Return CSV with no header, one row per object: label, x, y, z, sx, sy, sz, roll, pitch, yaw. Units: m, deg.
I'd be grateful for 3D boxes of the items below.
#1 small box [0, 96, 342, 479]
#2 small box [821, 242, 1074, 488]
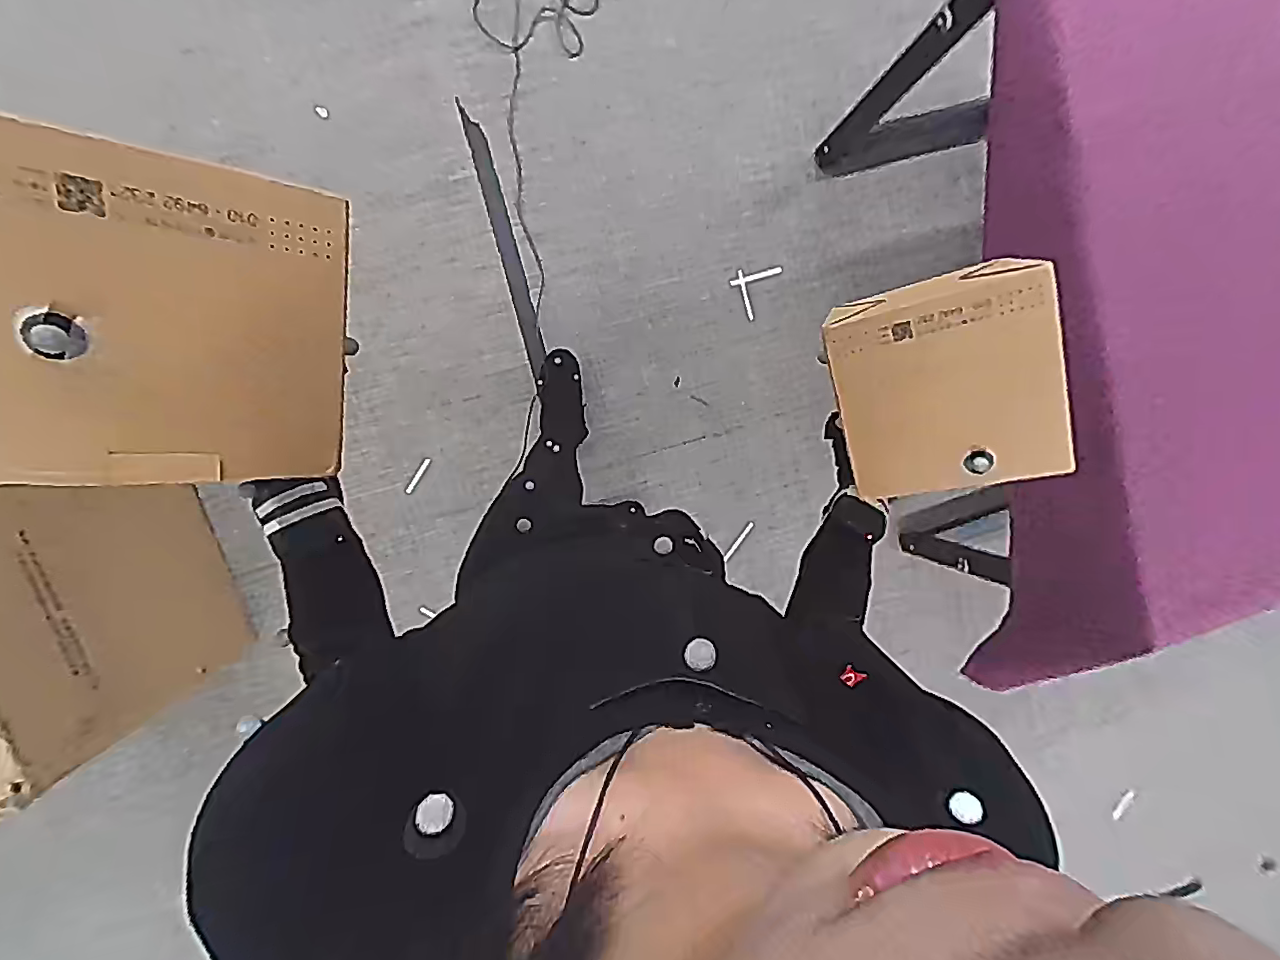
small box,-0.288,-0.113,0.329,0.168,0.179,0.176,-2,116,-37
small box,0.279,-0.114,0.514,0.168,0.179,0.176,-12,107,28
